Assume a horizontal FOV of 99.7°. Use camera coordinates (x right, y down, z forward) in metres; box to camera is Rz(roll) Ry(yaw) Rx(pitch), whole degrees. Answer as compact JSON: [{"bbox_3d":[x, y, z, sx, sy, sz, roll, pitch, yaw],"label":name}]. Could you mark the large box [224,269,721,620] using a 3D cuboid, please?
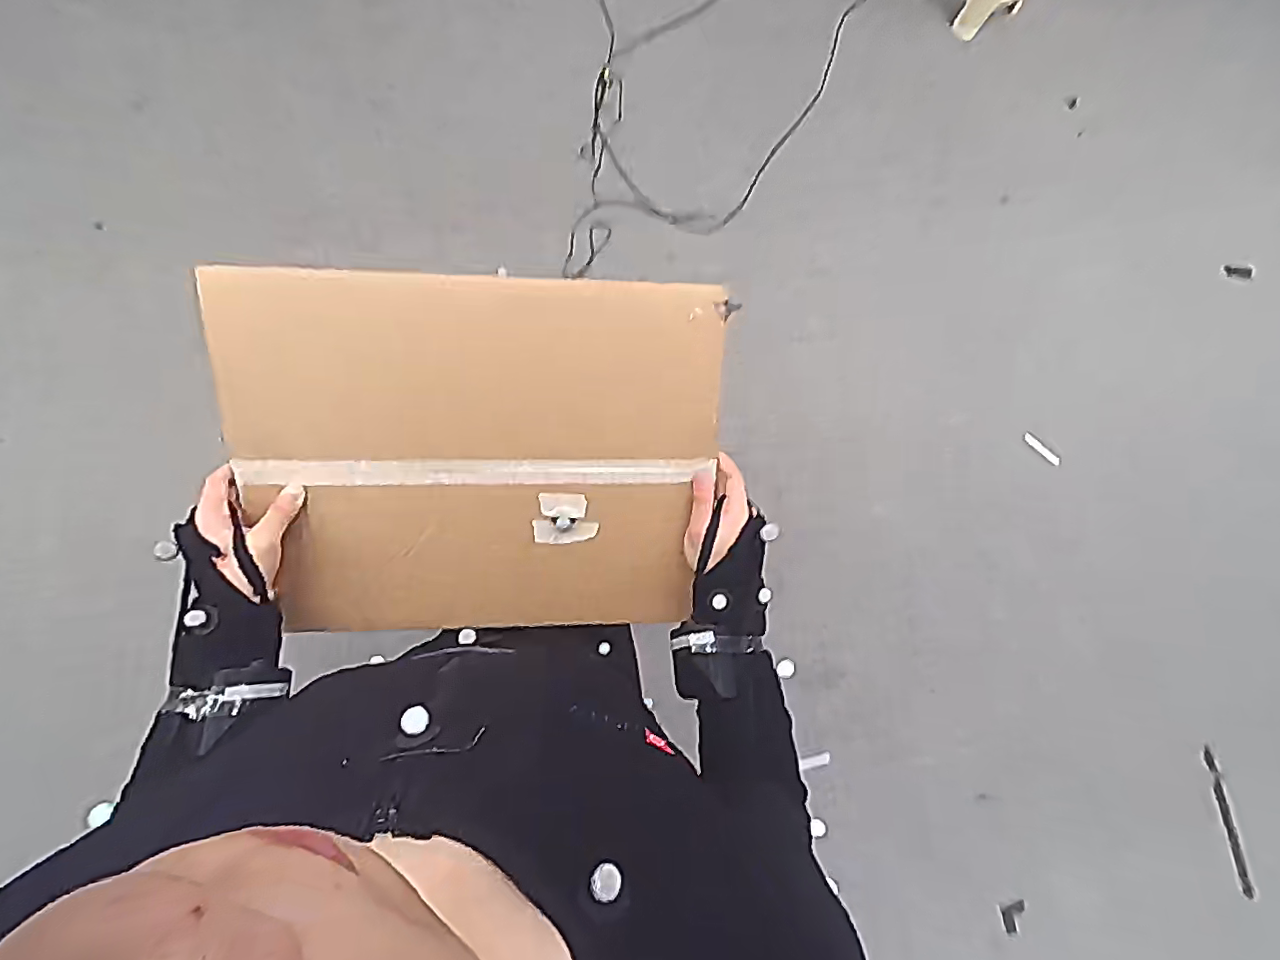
[{"bbox_3d":[-0.149,-0.064,0.625,0.408,0.320,0.320,-1,109,-7],"label":"large box"}]
